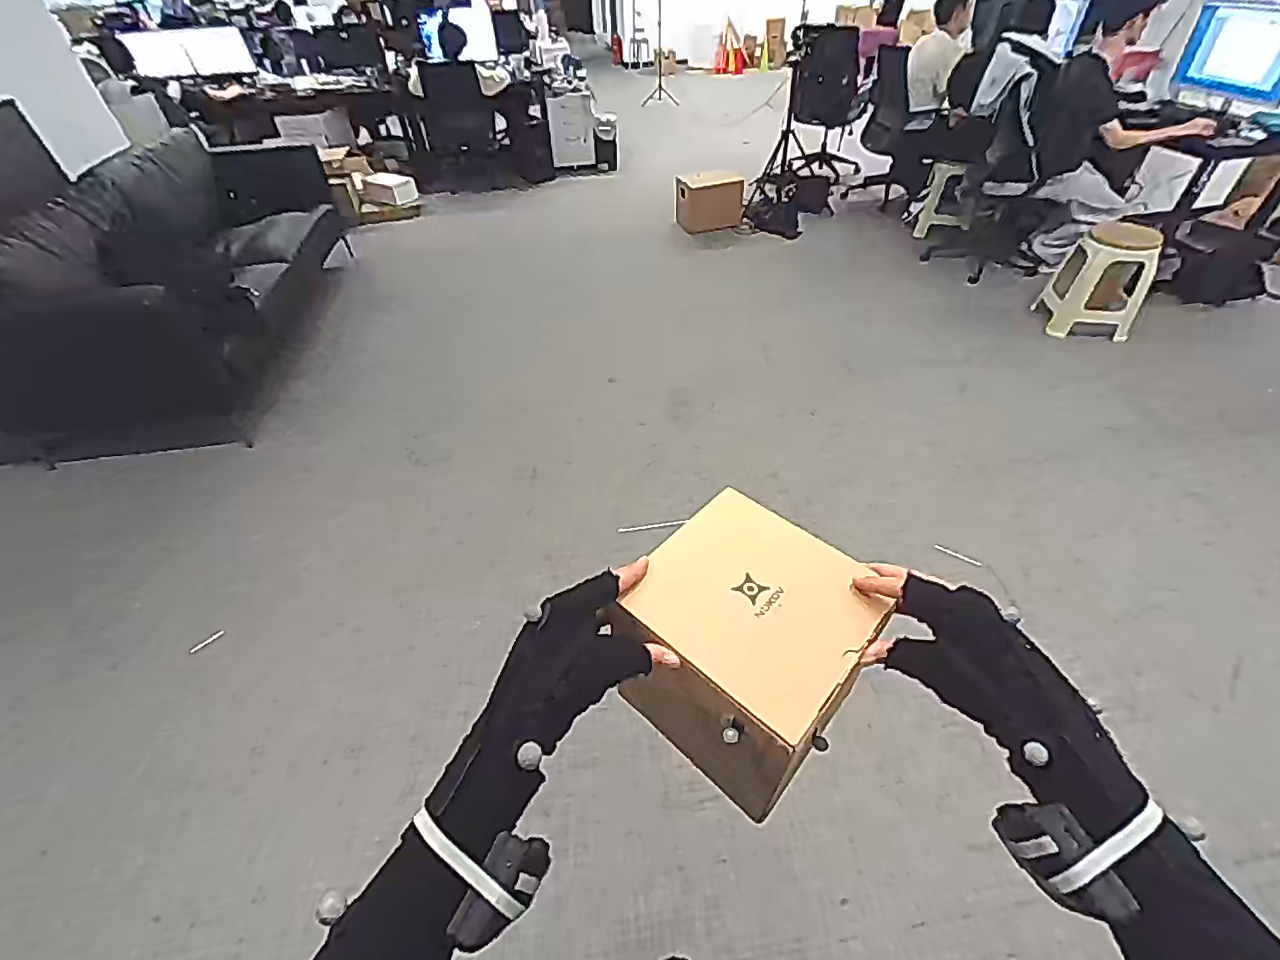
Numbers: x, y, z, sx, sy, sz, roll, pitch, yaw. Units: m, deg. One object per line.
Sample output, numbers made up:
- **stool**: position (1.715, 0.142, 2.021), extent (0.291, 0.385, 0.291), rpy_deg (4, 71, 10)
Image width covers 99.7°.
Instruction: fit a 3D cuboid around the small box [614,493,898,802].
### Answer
- **small box**: position (0.093, 0.150, 0.495), extent (0.179, 0.176, 0.168), rpy_deg (33, 53, 29)
